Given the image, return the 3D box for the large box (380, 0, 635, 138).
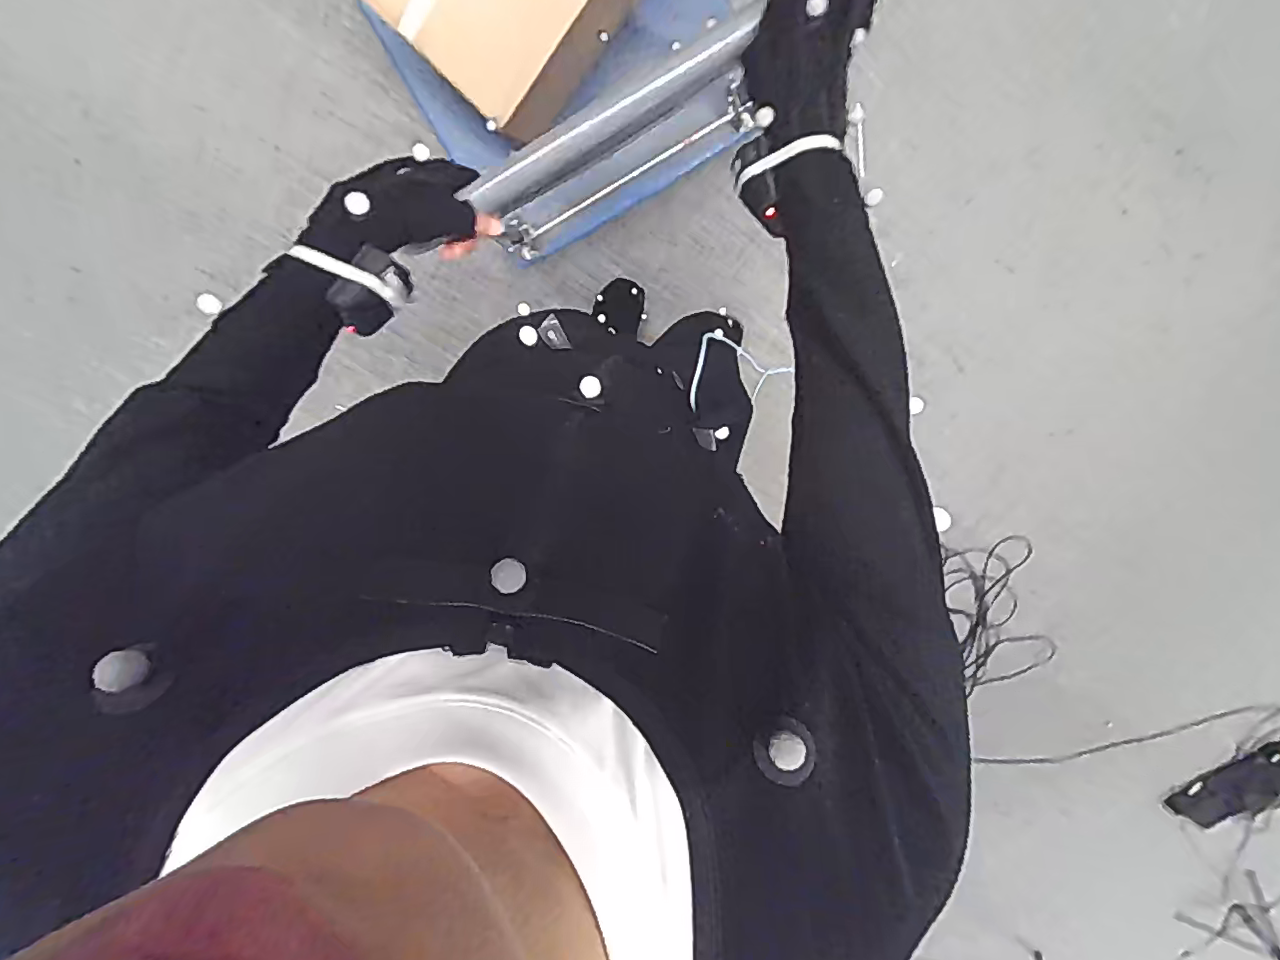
[{"bbox_3d":[-0.169,-0.802,0.791,0.320,0.320,0.408,38,111,-18],"label":"large box"}]
